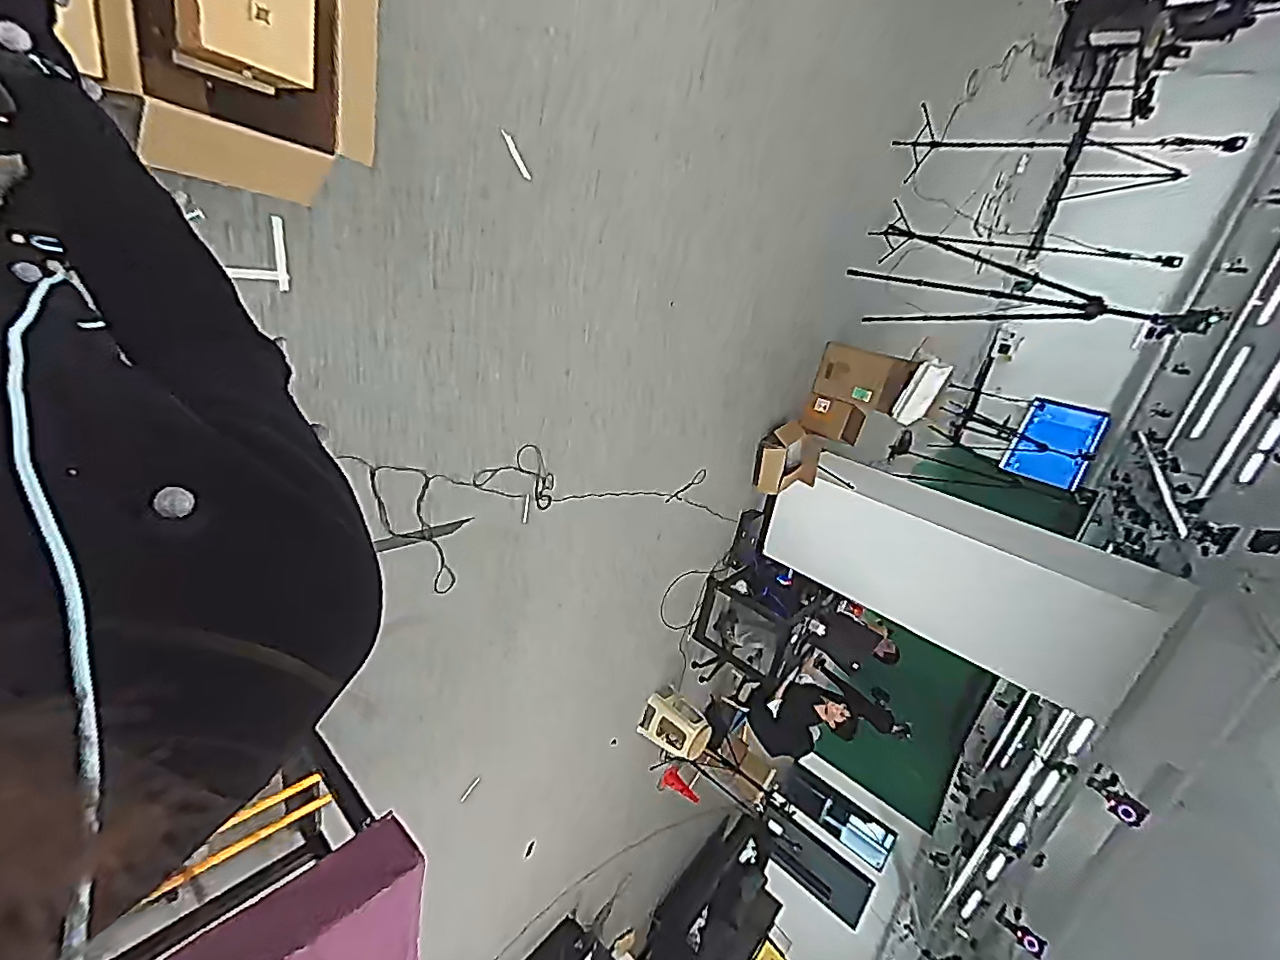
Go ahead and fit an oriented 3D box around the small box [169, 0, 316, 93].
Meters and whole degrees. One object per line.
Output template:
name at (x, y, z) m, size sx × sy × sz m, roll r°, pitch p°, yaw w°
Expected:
small box at (-0.713, -0.829, 0.971) m, size 0.179 × 0.176 × 0.168 m, roll -13°, pitch 124°, yaw -50°
